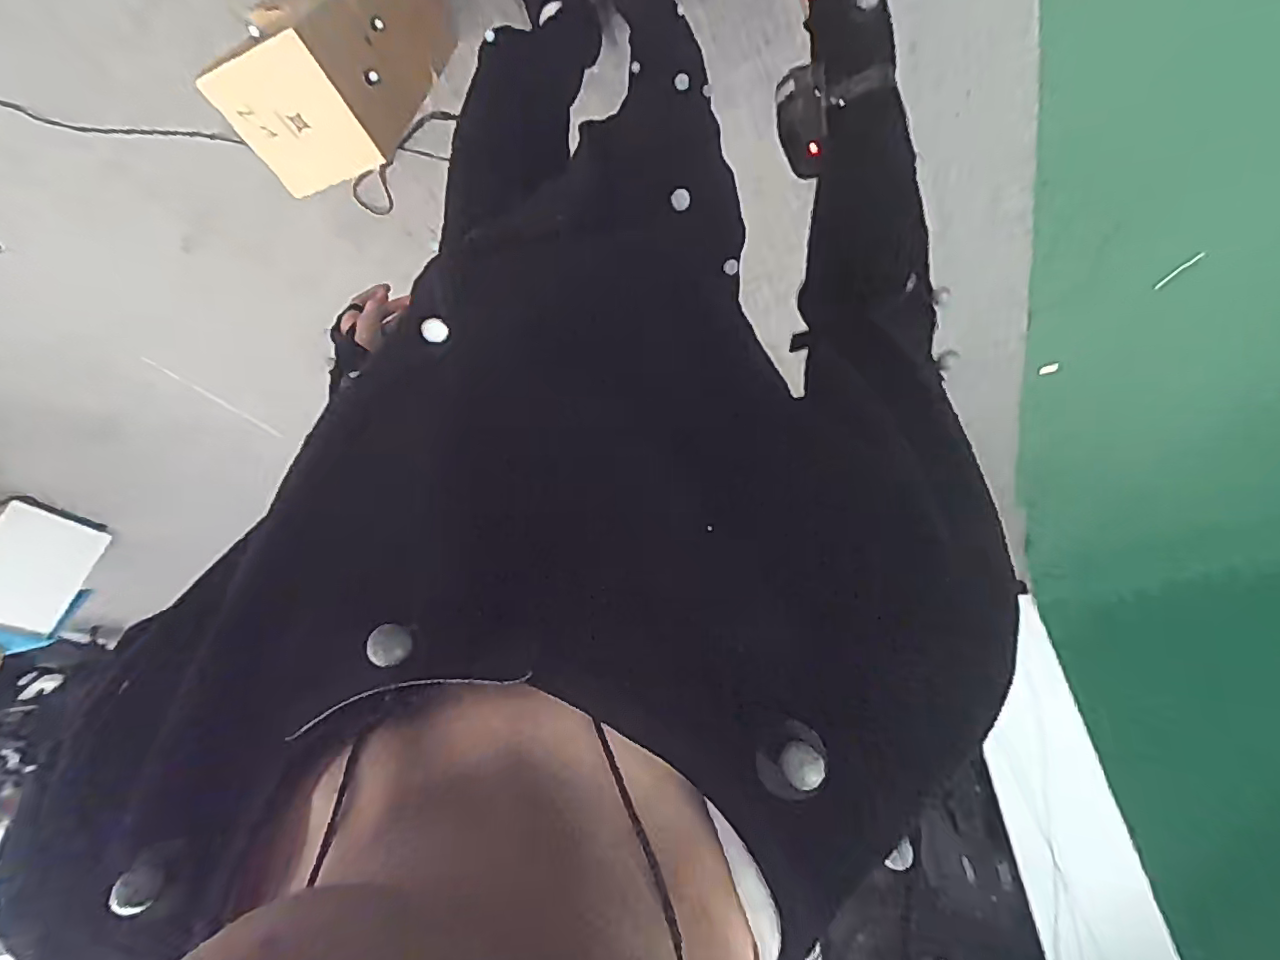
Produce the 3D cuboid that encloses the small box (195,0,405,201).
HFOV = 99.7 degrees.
[{"bbox_3d":[-0.467,-0.546,0.779,0.179,0.176,0.168,-9,143,17],"label":"small box"}]

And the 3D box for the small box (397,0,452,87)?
[{"bbox_3d":[-0.462,-0.817,0.961,0.168,0.176,0.179,-5,146,10],"label":"small box"}]

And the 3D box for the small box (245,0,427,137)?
[{"bbox_3d":[-0.471,-0.681,0.874,0.168,0.176,0.179,-2,145,6],"label":"small box"}]
